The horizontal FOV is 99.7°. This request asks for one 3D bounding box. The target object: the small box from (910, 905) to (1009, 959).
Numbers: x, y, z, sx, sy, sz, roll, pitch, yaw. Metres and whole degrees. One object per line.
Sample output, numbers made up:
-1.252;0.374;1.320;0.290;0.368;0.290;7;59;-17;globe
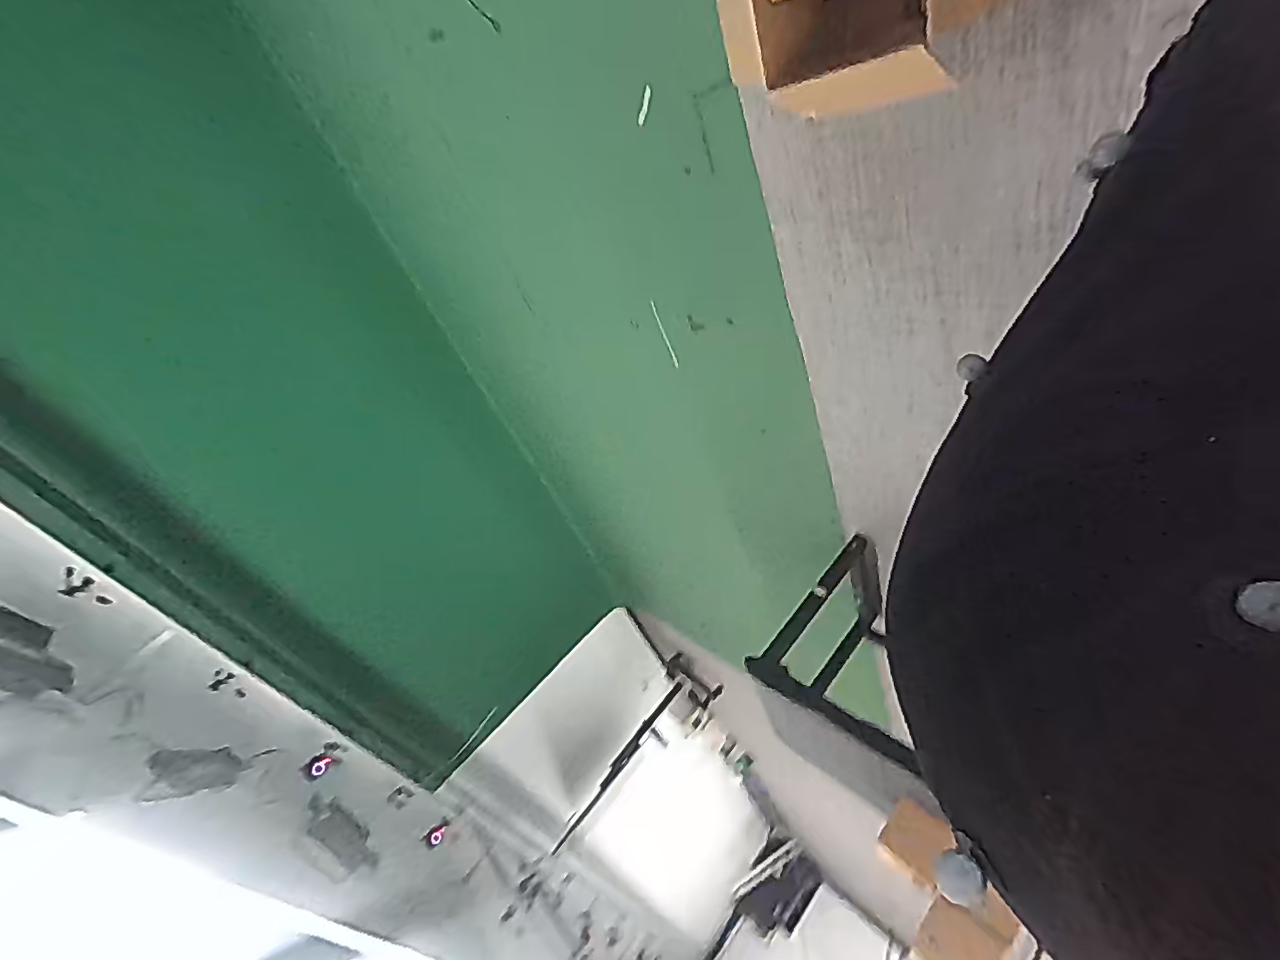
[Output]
0.850;1.285;1.446;0.179;0.176;0.168;24;148;44;small box
